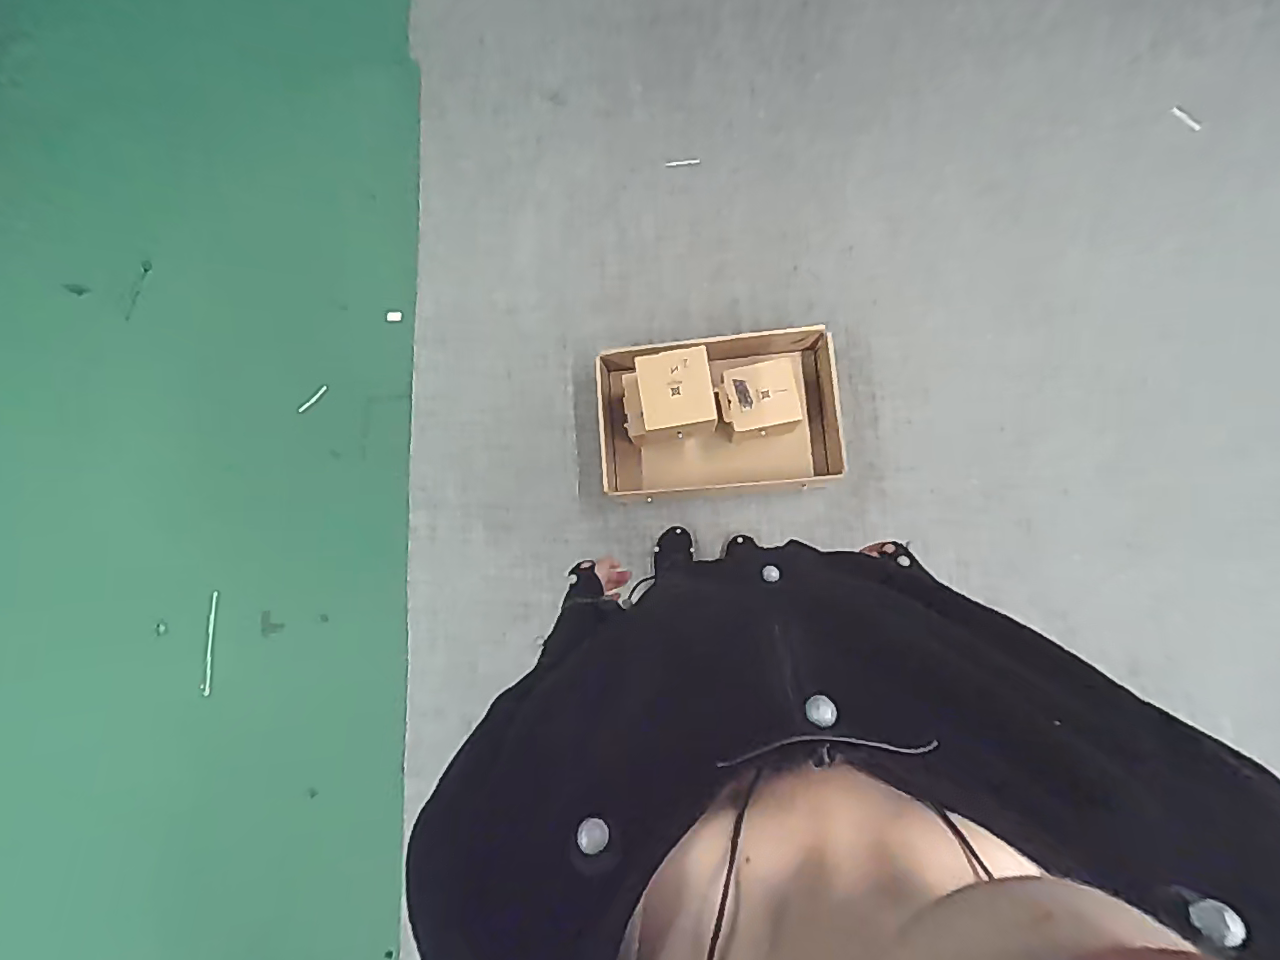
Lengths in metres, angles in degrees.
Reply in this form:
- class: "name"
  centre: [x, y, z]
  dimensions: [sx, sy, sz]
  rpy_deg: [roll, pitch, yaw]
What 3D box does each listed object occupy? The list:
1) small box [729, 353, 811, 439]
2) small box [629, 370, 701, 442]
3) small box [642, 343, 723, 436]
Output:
- class: "small box"
  centre: [0.337, -0.214, 1.428]
  dimensions: [0.179, 0.176, 0.168]
  rpy_deg: [-11, 83, 7]
- class: "small box"
  centre: [0.076, -0.203, 1.465]
  dimensions: [0.179, 0.176, 0.168]
  rpy_deg: [-7, 84, 5]
- class: "small box"
  centre: [0.105, -0.207, 1.296]
  dimensions: [0.168, 0.176, 0.179]
  rpy_deg: [-9, 84, 5]
